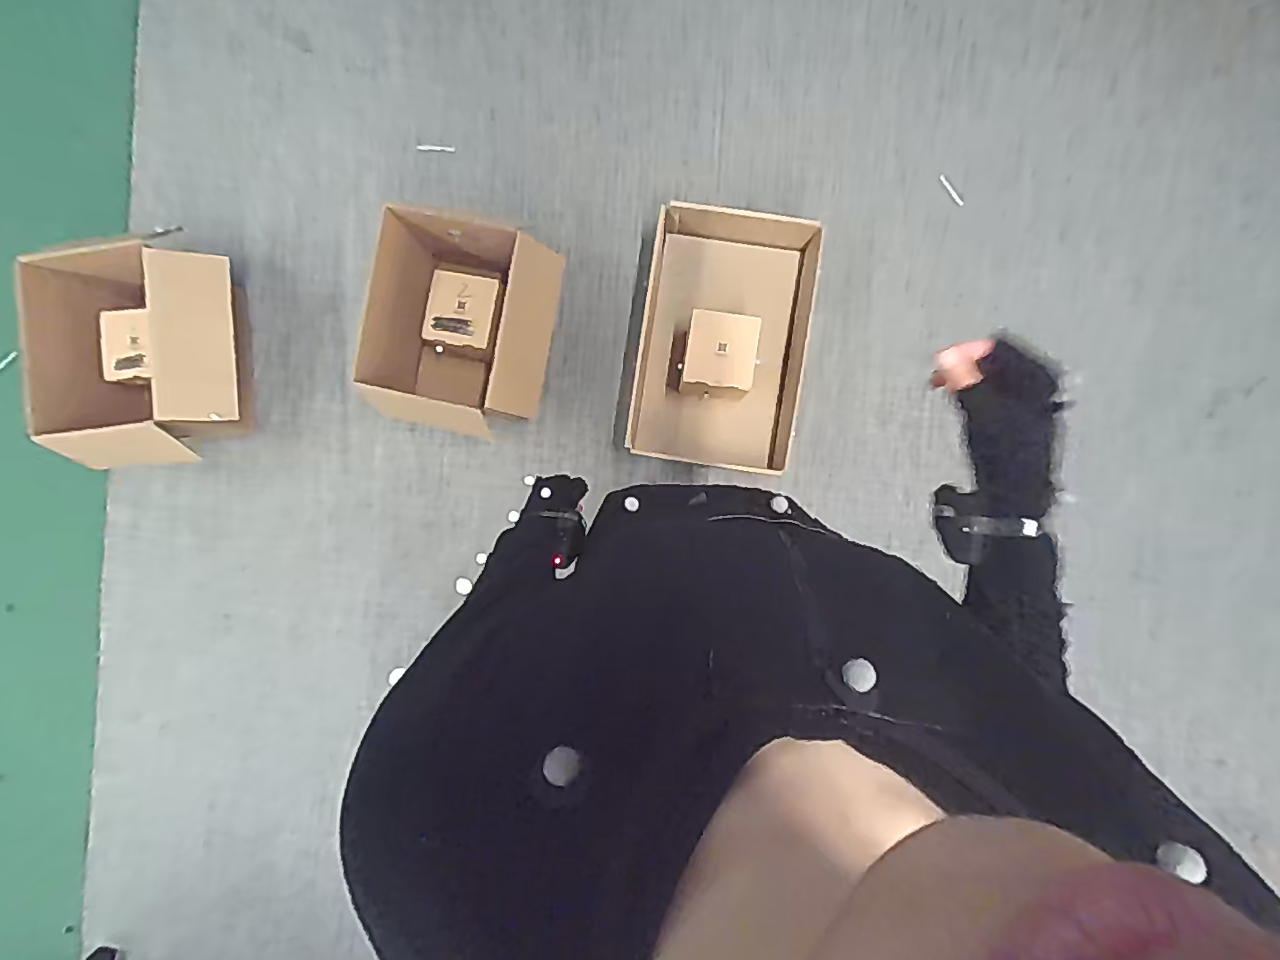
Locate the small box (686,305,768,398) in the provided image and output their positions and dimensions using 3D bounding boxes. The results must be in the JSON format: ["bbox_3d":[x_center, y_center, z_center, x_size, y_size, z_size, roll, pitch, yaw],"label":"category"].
[{"bbox_3d":[0.209,-0.313,1.342,0.168,0.176,0.179,8,90,2],"label":"small box"}]
